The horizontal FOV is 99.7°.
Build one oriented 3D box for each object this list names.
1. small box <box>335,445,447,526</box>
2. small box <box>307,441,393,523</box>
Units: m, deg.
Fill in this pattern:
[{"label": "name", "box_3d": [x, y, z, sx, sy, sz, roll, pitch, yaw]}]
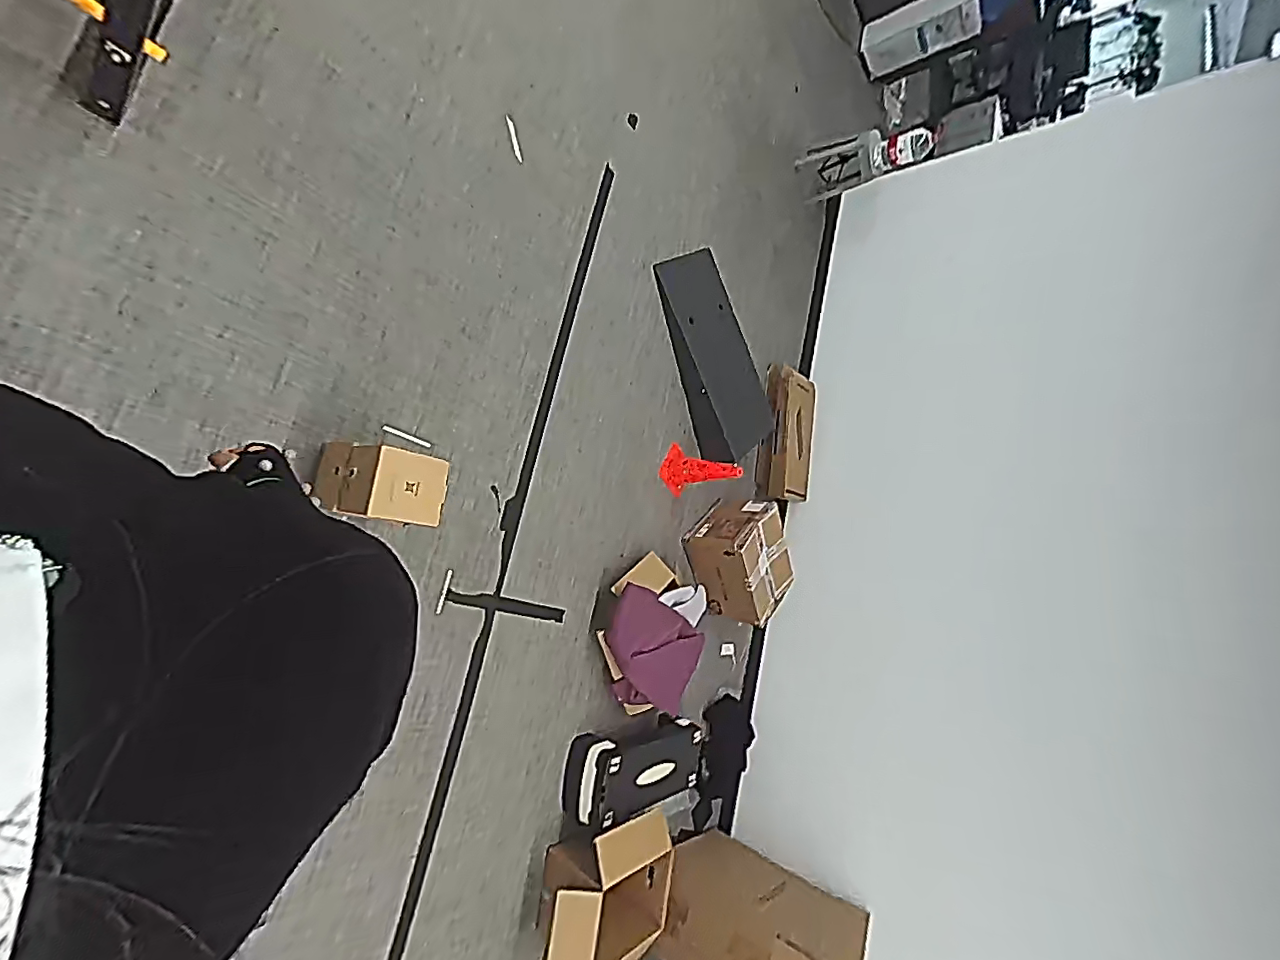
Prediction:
[{"label": "small box", "box_3d": [-0.603, 0.014, 1.308, 0.179, 0.176, 0.168, 17, 78, -48]}, {"label": "small box", "box_3d": [-0.734, 0.004, 1.404, 0.168, 0.176, 0.179, 22, 76, -48]}]
